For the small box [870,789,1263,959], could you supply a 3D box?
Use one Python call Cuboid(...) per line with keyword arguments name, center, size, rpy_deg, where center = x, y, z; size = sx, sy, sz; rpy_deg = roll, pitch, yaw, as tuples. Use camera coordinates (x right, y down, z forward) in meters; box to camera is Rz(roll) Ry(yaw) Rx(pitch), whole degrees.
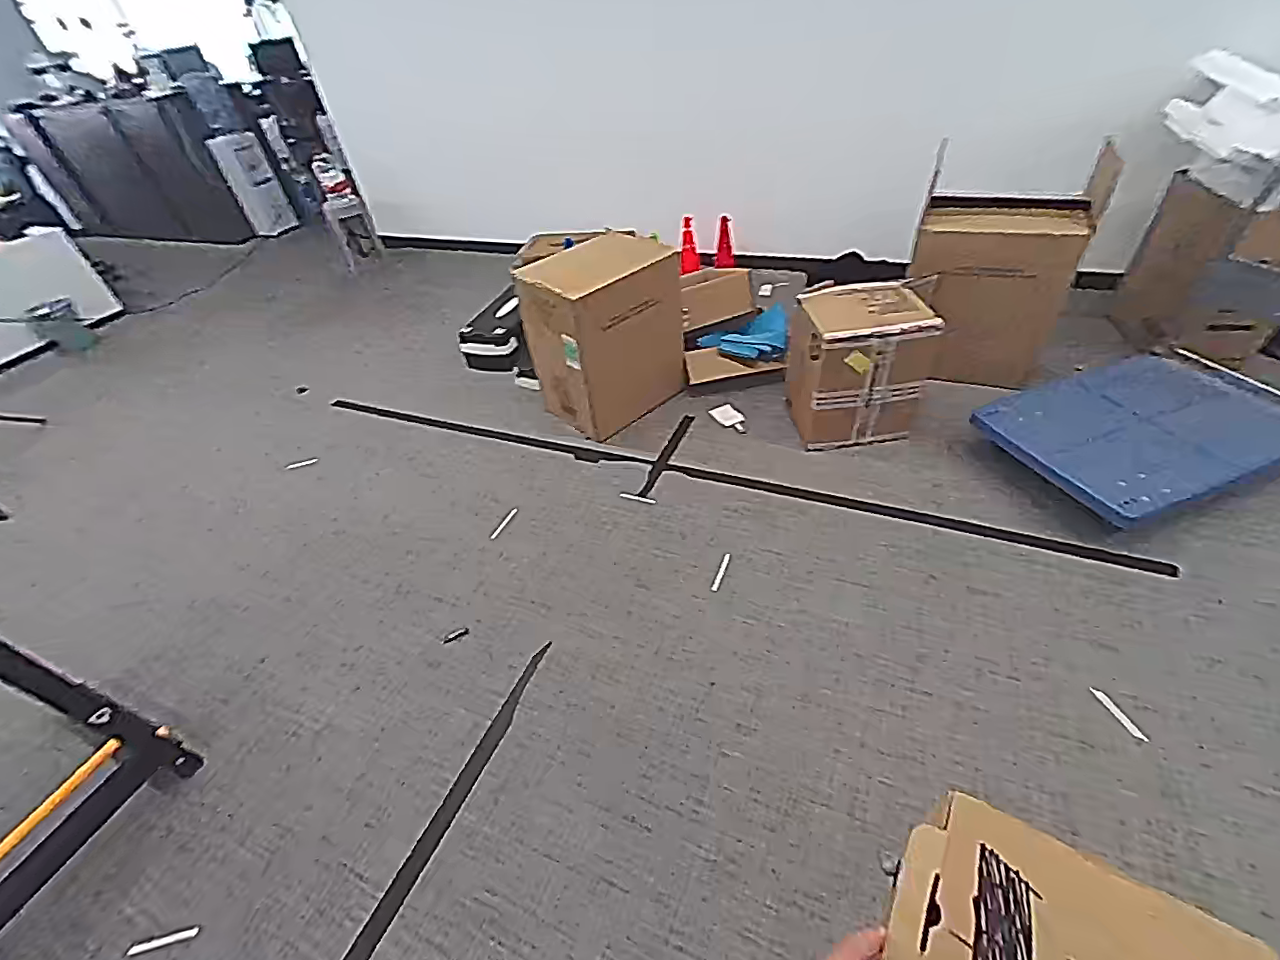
Cuboid(name="small box", center=(0.261, 0.358, 0.367), size=(0.179, 0.176, 0.168), rpy_deg=(20, 51, 26))
